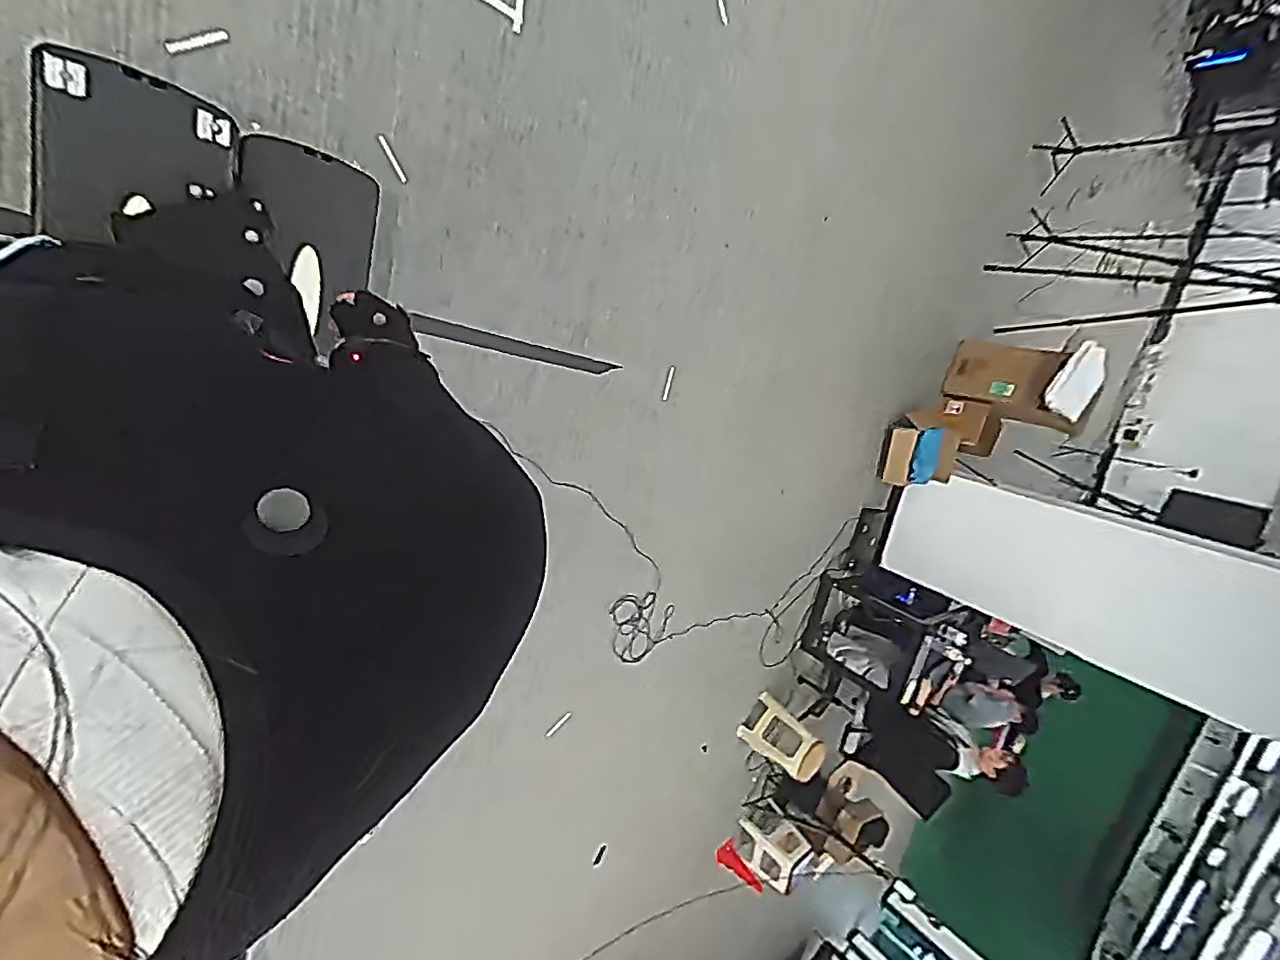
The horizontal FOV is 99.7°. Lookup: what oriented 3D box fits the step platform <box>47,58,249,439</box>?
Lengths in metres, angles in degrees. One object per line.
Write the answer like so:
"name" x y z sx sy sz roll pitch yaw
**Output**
"step platform" -0.994 -0.424 1.101 0.286 0.204 0.684 1 106 -43
